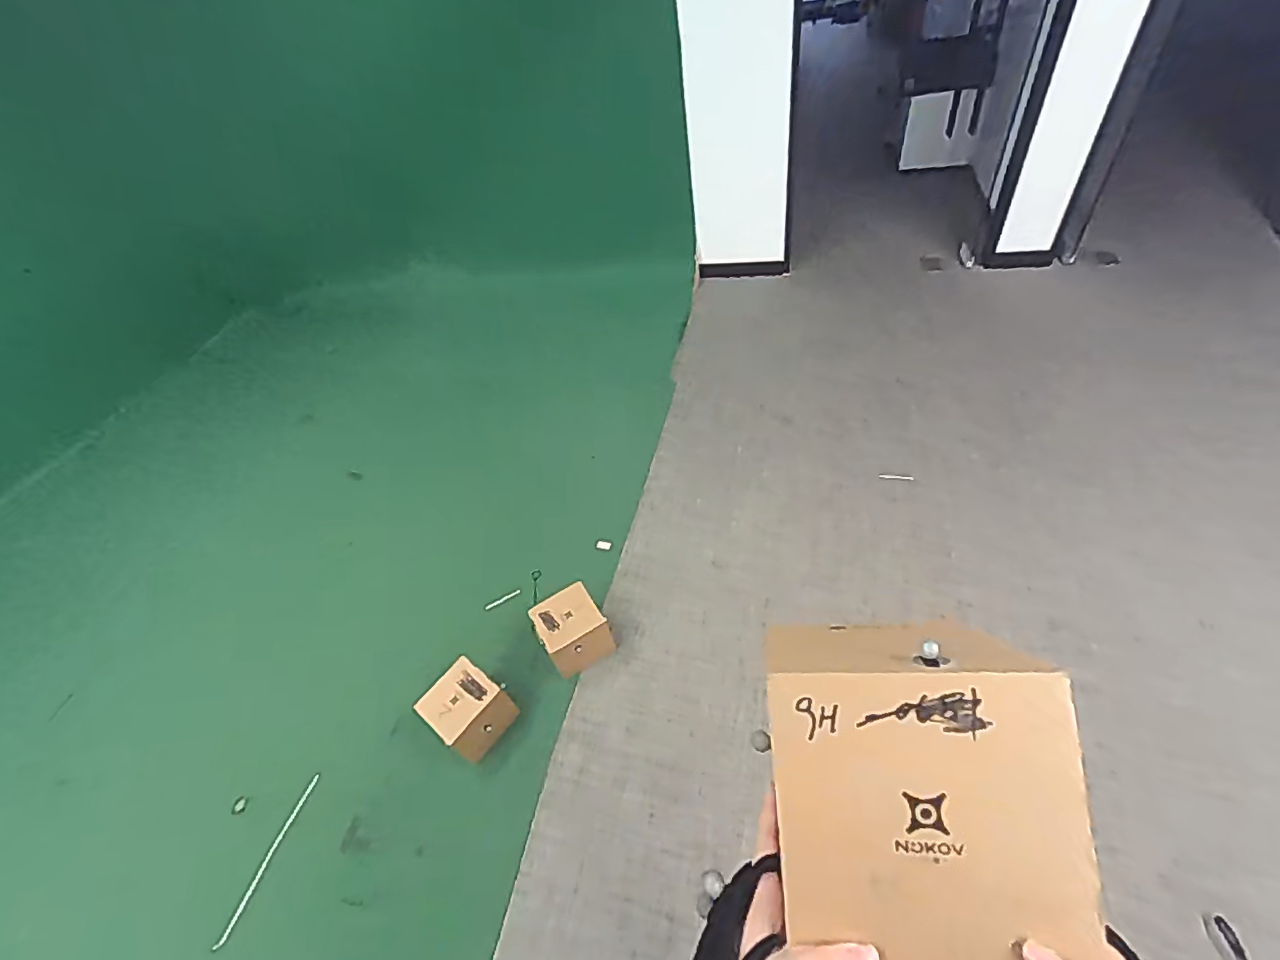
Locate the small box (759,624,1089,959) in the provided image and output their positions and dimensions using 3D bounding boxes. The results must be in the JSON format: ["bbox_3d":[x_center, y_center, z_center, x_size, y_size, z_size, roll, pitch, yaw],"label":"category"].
[{"bbox_3d":[0.176,0.208,0.389,0.168,0.176,0.179,-4,84,12],"label":"small box"}]

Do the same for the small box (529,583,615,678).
[{"bbox_3d":[-0.195,0.443,1.579,0.179,0.176,0.168,-28,48,-15],"label":"small box"}]
